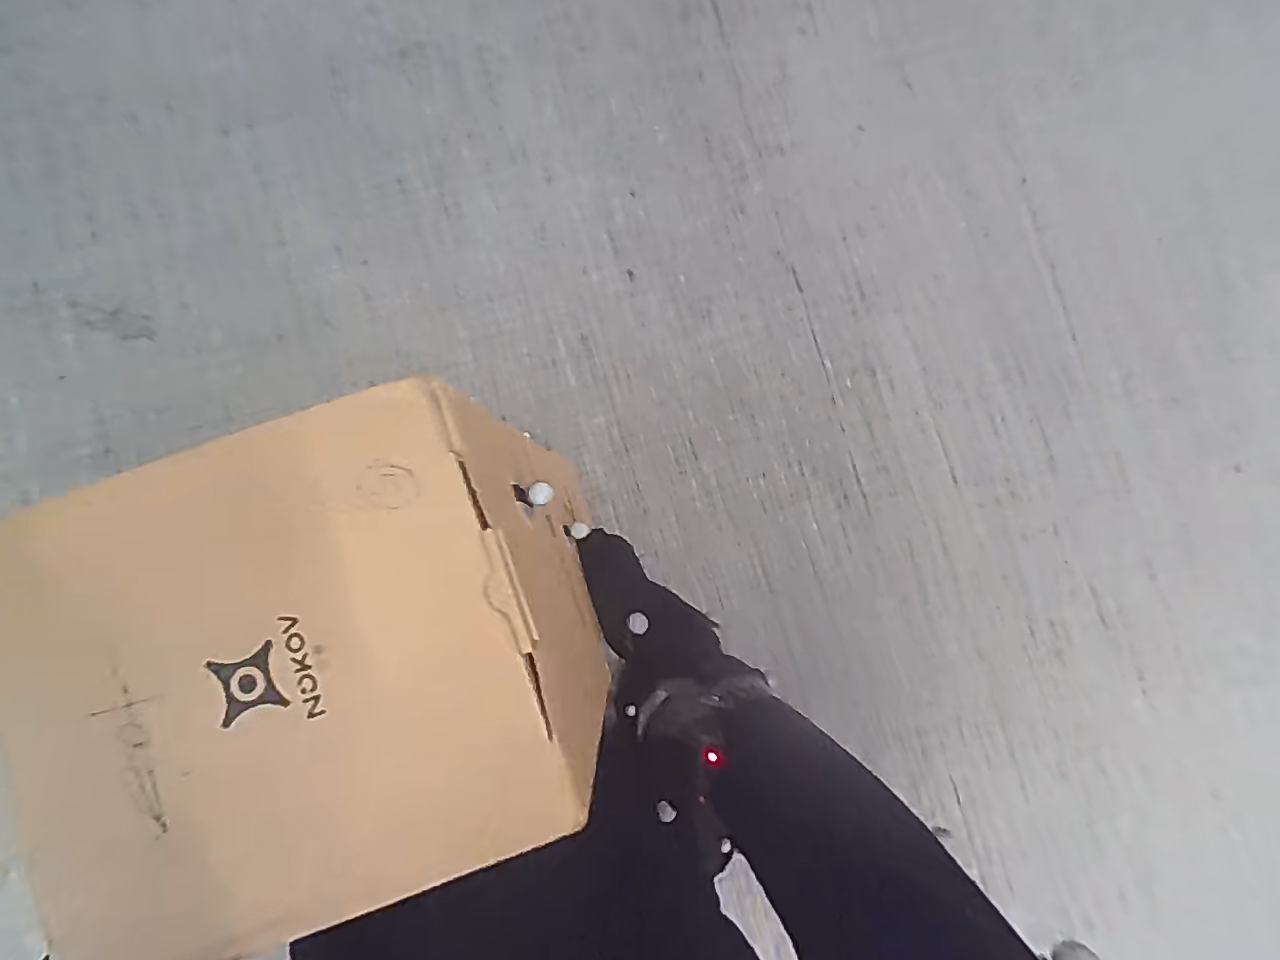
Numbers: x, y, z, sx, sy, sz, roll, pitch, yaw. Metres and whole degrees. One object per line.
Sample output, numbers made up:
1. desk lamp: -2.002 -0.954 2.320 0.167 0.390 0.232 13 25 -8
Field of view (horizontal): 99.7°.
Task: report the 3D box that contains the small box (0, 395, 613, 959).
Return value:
1. small box: -0.119 0.077 0.264 0.179 0.176 0.168 -20 85 2
